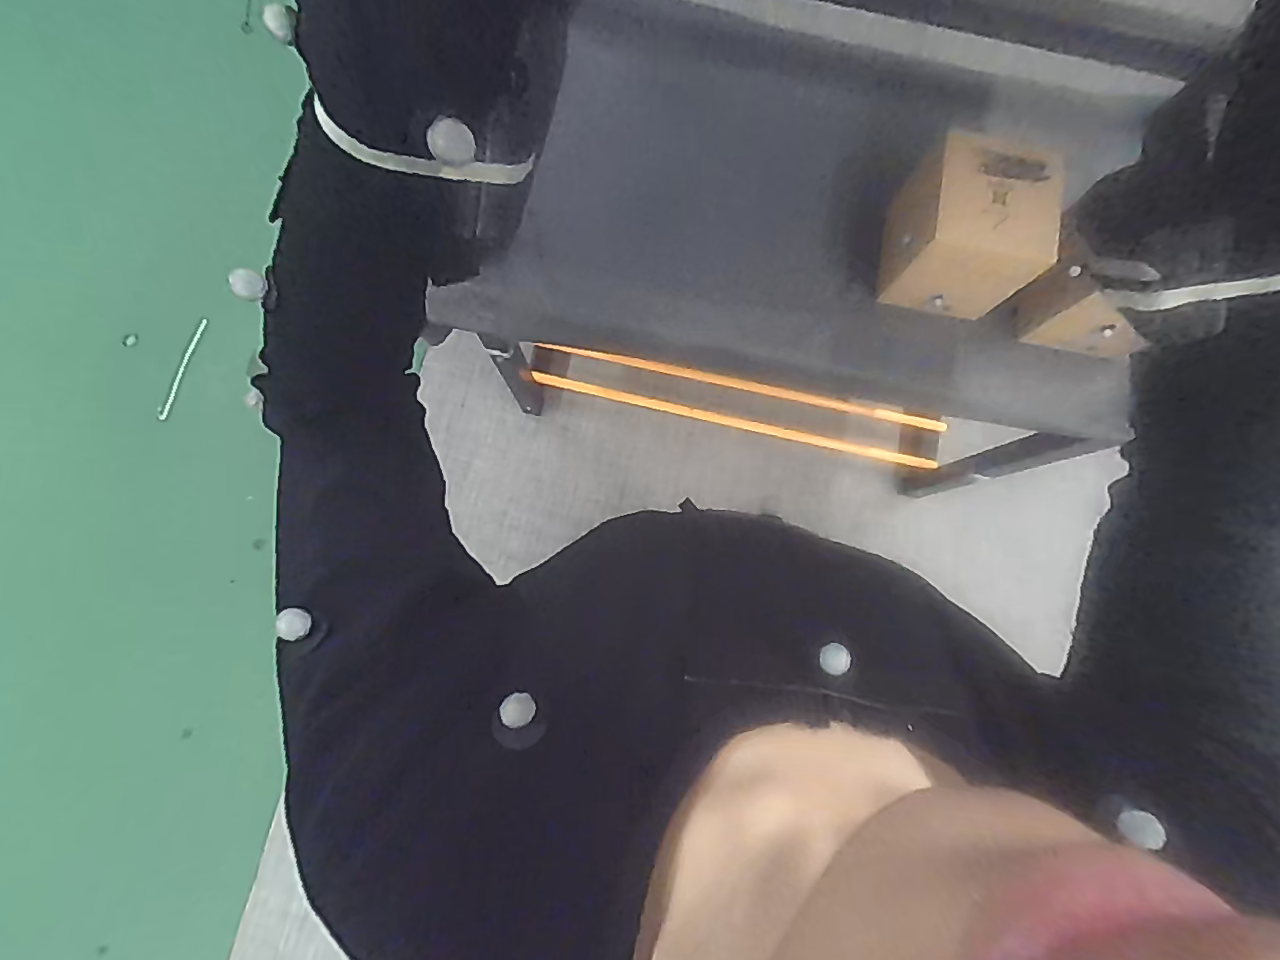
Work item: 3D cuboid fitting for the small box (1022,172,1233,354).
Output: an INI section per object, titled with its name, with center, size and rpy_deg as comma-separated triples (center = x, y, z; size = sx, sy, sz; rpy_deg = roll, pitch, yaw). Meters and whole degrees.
[small box]
center = 0.702, -0.306, 0.797
size = 0.168, 0.176, 0.179
rpy_deg = 11, 78, 0
